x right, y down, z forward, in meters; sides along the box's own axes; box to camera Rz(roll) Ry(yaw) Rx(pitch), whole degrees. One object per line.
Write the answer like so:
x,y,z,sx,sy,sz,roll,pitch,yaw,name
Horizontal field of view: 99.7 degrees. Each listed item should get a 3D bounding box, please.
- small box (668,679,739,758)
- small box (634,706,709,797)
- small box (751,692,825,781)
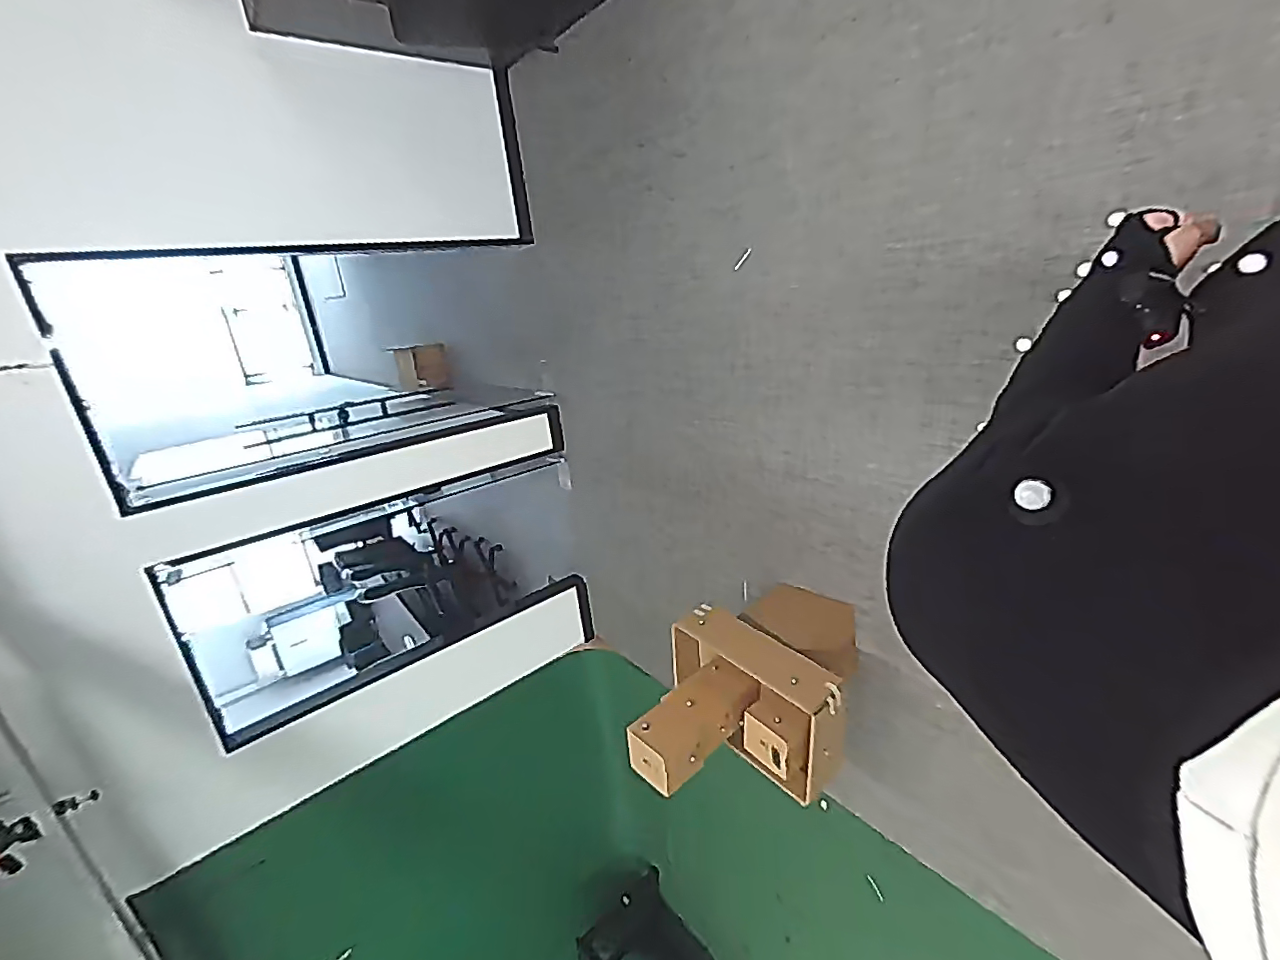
0.217,0.818,1.861,0.179,0.176,0.168,19,121,45,small box
0.103,0.867,1.753,0.179,0.176,0.168,17,120,46,small box
0.487,0.835,1.781,0.179,0.176,0.168,23,124,48,small box
